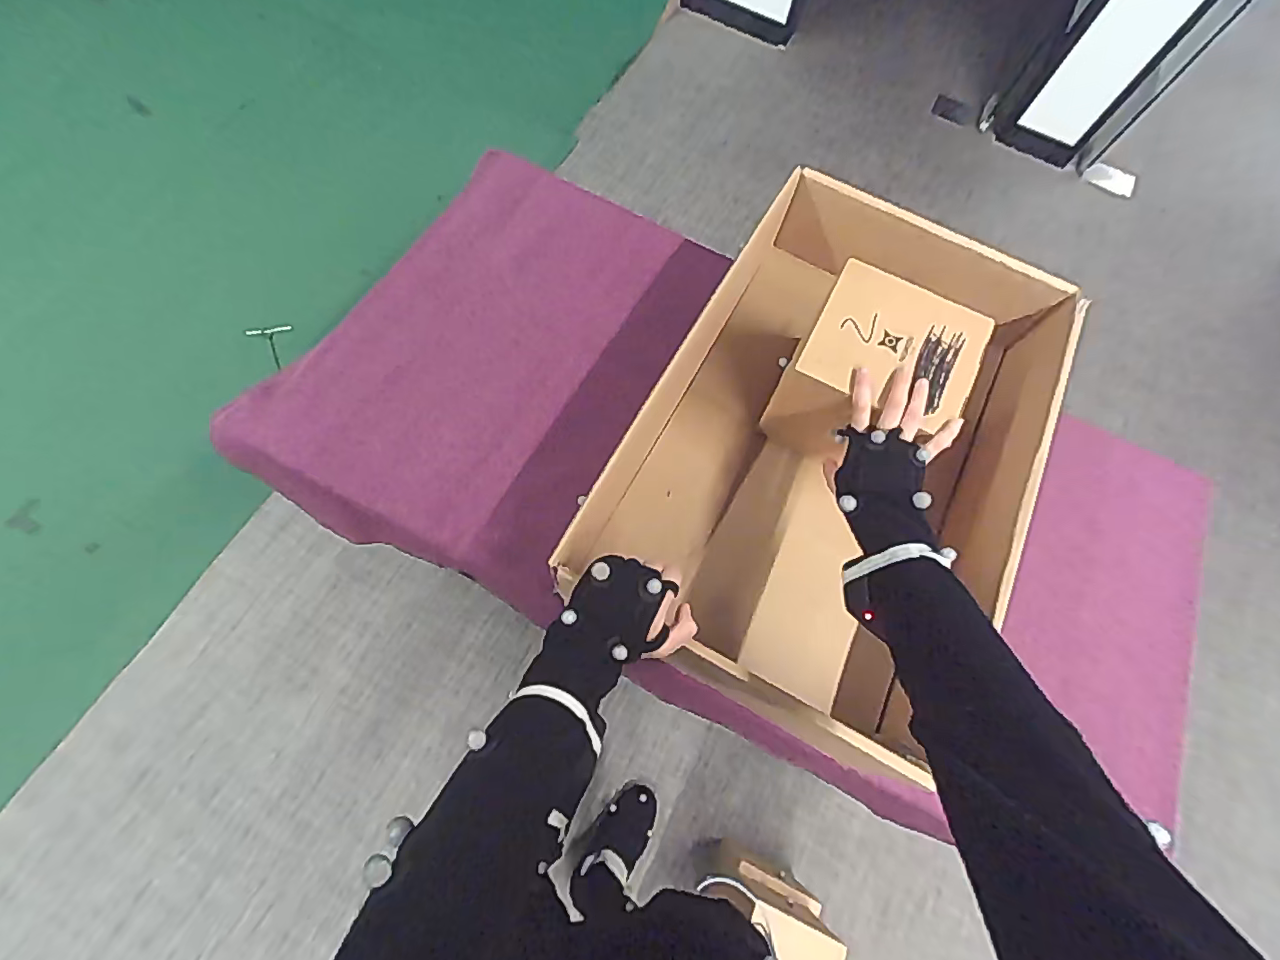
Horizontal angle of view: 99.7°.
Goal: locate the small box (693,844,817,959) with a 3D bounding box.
[{"bbox_3d":[0.227,0.884,1.105,0.179,0.176,0.168,26,69,6],"label":"small box"}]
